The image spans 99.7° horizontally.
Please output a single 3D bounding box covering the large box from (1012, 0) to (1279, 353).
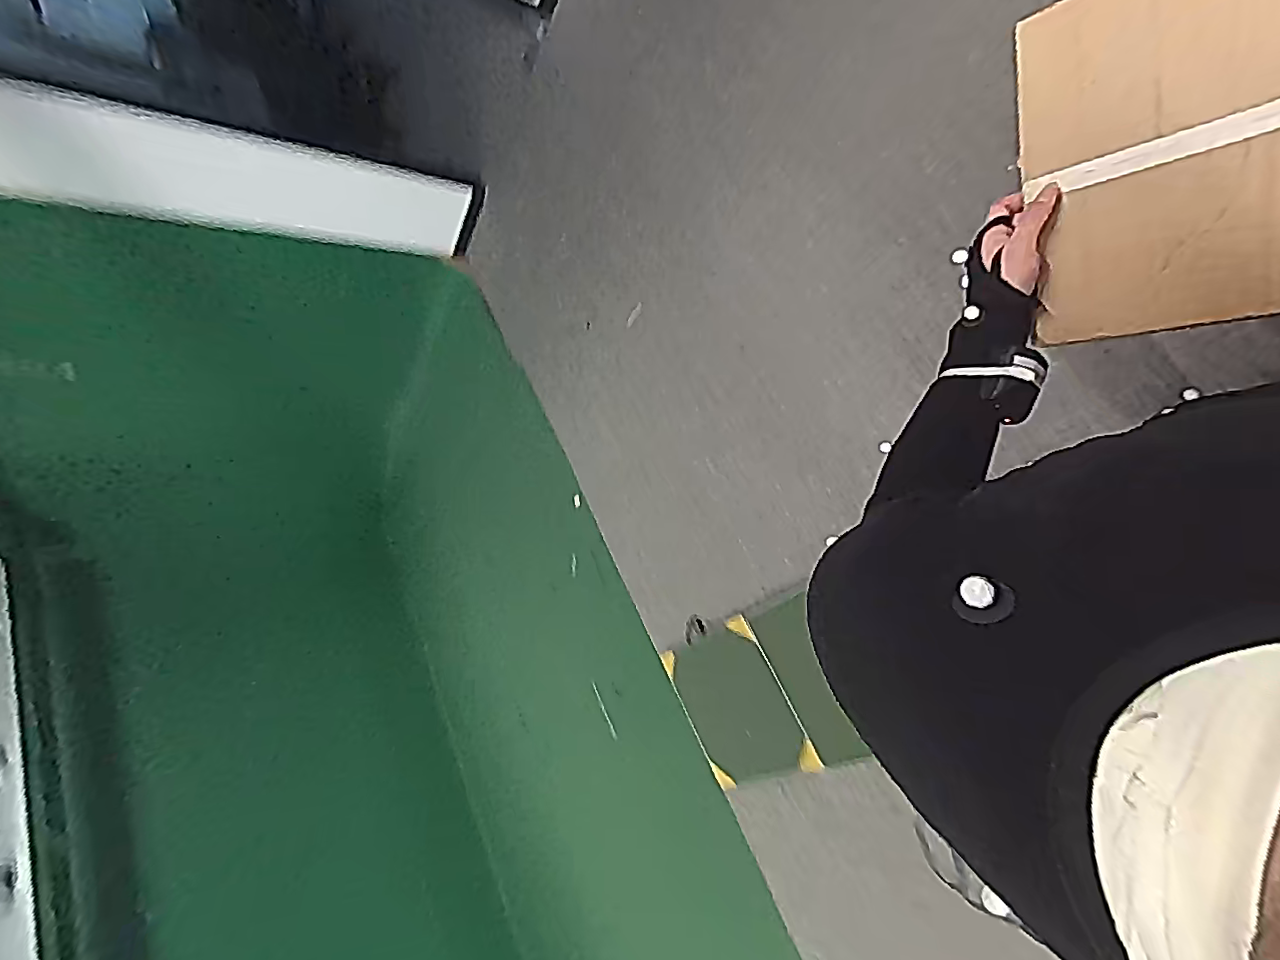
[{"bbox_3d":[0.644,-0.323,0.532,0.408,0.320,0.320,-2,101,45],"label":"large box"}]
